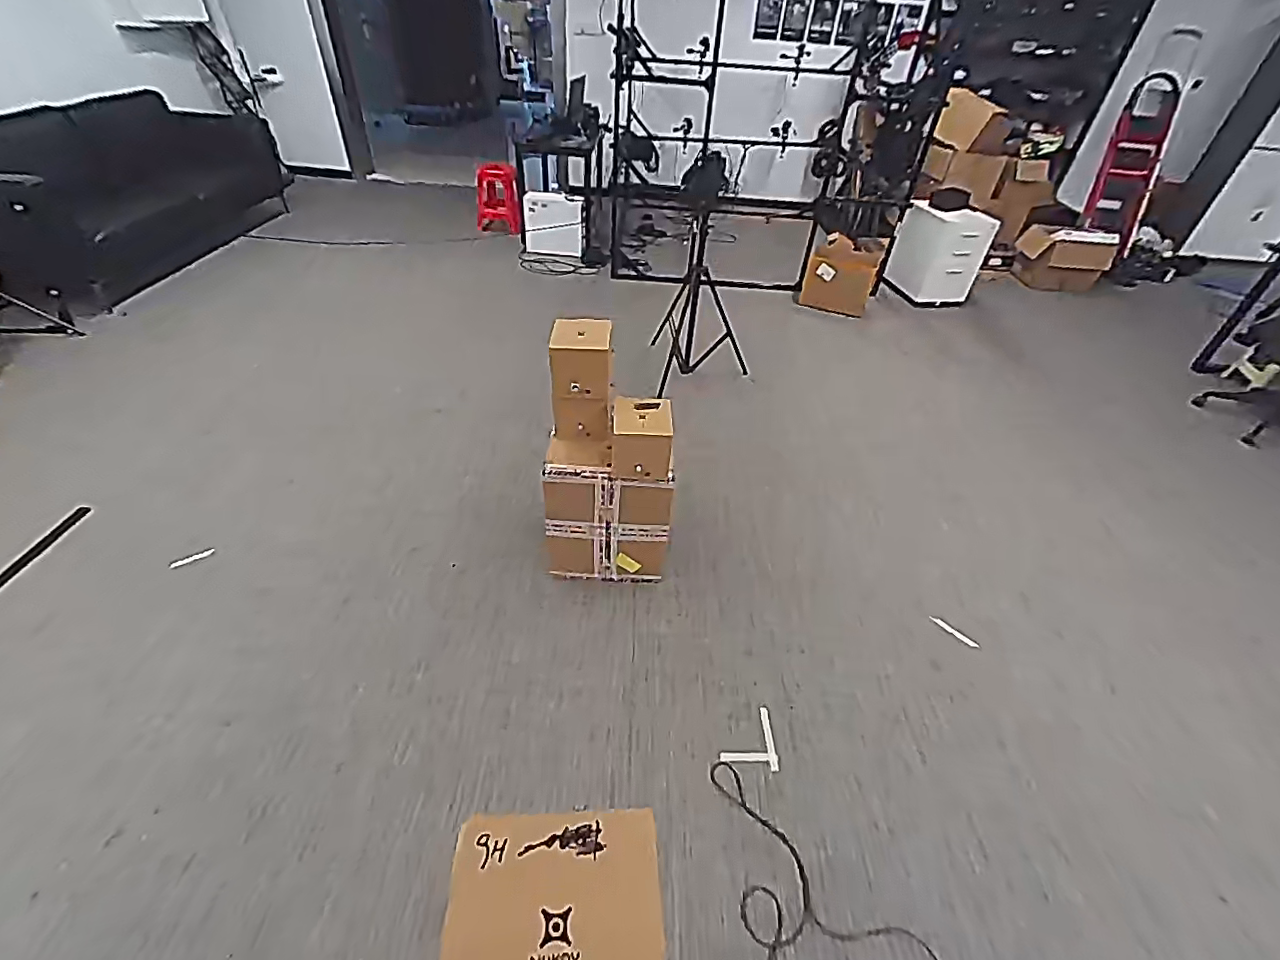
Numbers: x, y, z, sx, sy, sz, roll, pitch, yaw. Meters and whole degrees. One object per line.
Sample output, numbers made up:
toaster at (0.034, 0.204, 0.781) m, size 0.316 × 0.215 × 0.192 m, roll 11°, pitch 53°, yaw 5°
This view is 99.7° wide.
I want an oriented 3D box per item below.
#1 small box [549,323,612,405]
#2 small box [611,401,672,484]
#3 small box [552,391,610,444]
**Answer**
small box at (-0.168, -0.339, 1.580) m, size 0.168 × 0.176 × 0.179 m, roll 1°, pitch 43°, yaw -1°
small box at (0.001, -0.109, 1.581) m, size 0.168 × 0.176 × 0.179 m, roll 2°, pitch 43°, yaw -3°
small box at (-0.180, -0.233, 1.704) m, size 0.168 × 0.176 × 0.179 m, roll 2°, pitch 43°, yaw -1°
